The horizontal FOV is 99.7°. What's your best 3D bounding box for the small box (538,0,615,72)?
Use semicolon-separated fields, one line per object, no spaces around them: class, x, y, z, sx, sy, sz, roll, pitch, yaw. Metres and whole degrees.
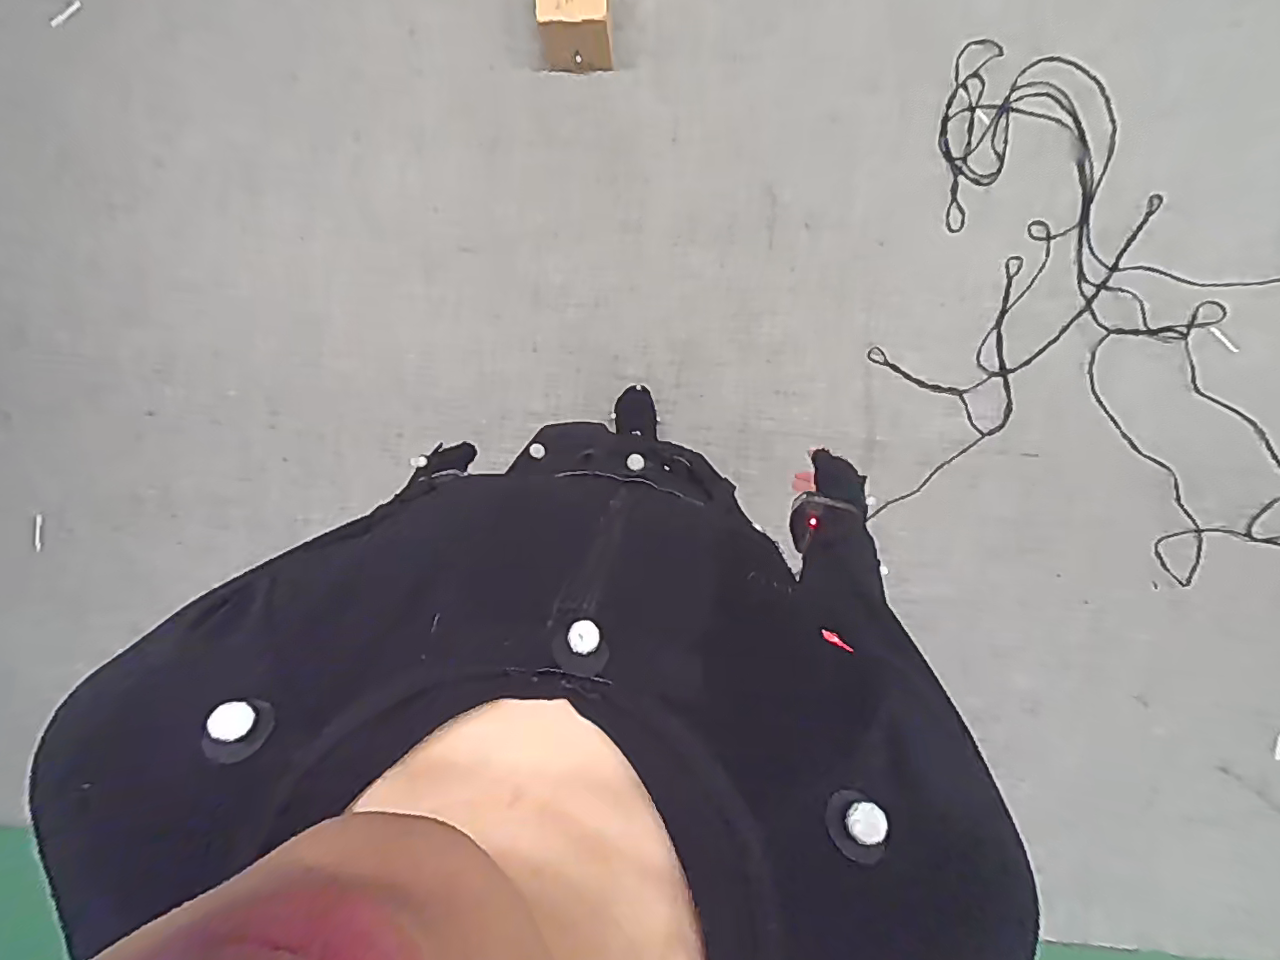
small box;-0.150;-1.145;1.321;0.168;0.176;0.179;0;93;2
